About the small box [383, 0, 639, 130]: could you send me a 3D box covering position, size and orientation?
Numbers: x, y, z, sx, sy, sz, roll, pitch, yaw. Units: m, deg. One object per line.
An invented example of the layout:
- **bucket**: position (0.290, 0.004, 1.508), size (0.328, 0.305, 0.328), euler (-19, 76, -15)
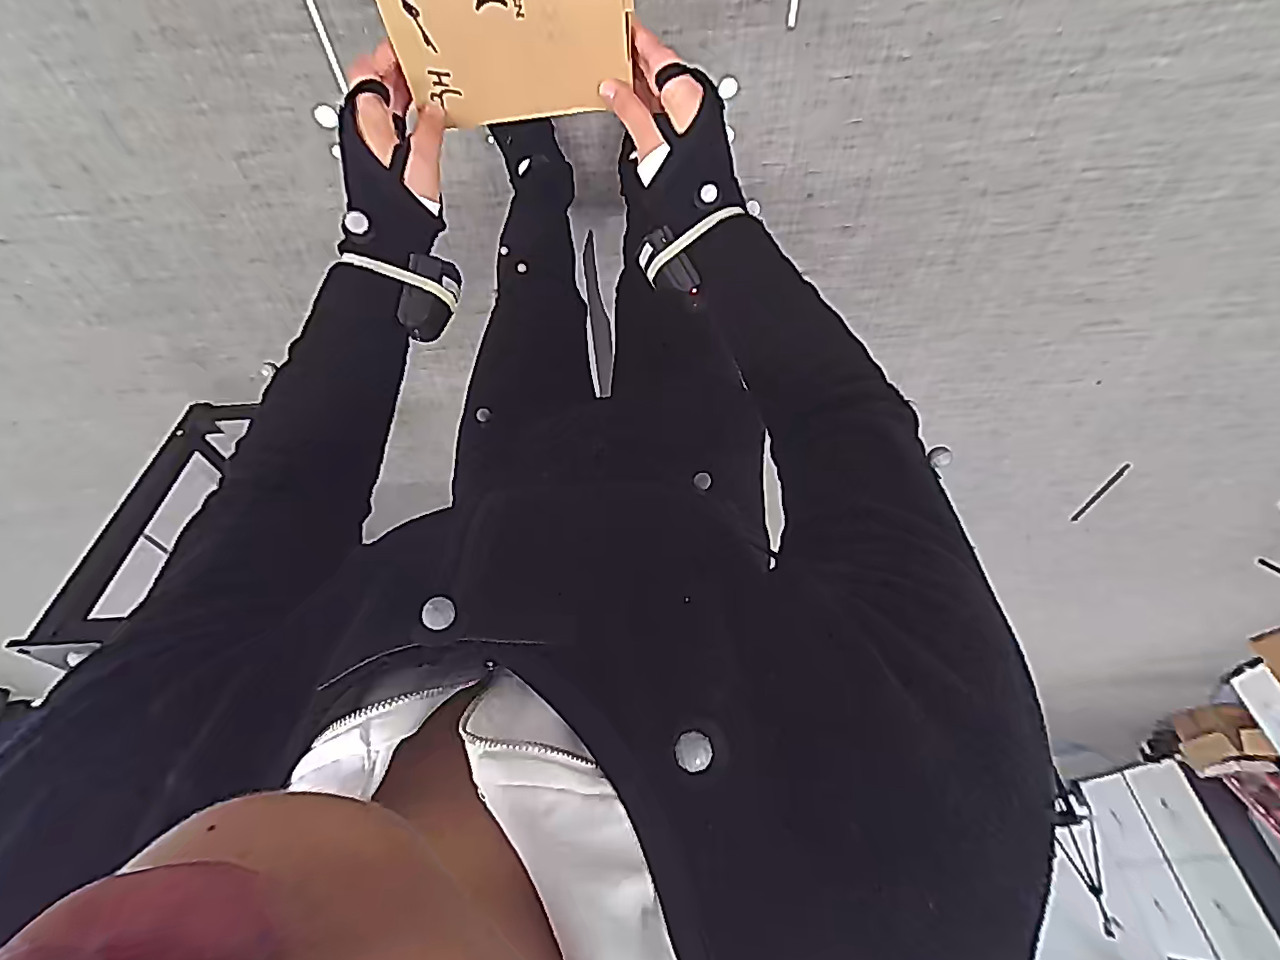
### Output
- **small box**: position (-0.099, -0.406, 0.419), size (0.179, 0.176, 0.168), euler (-6, 147, 0)
